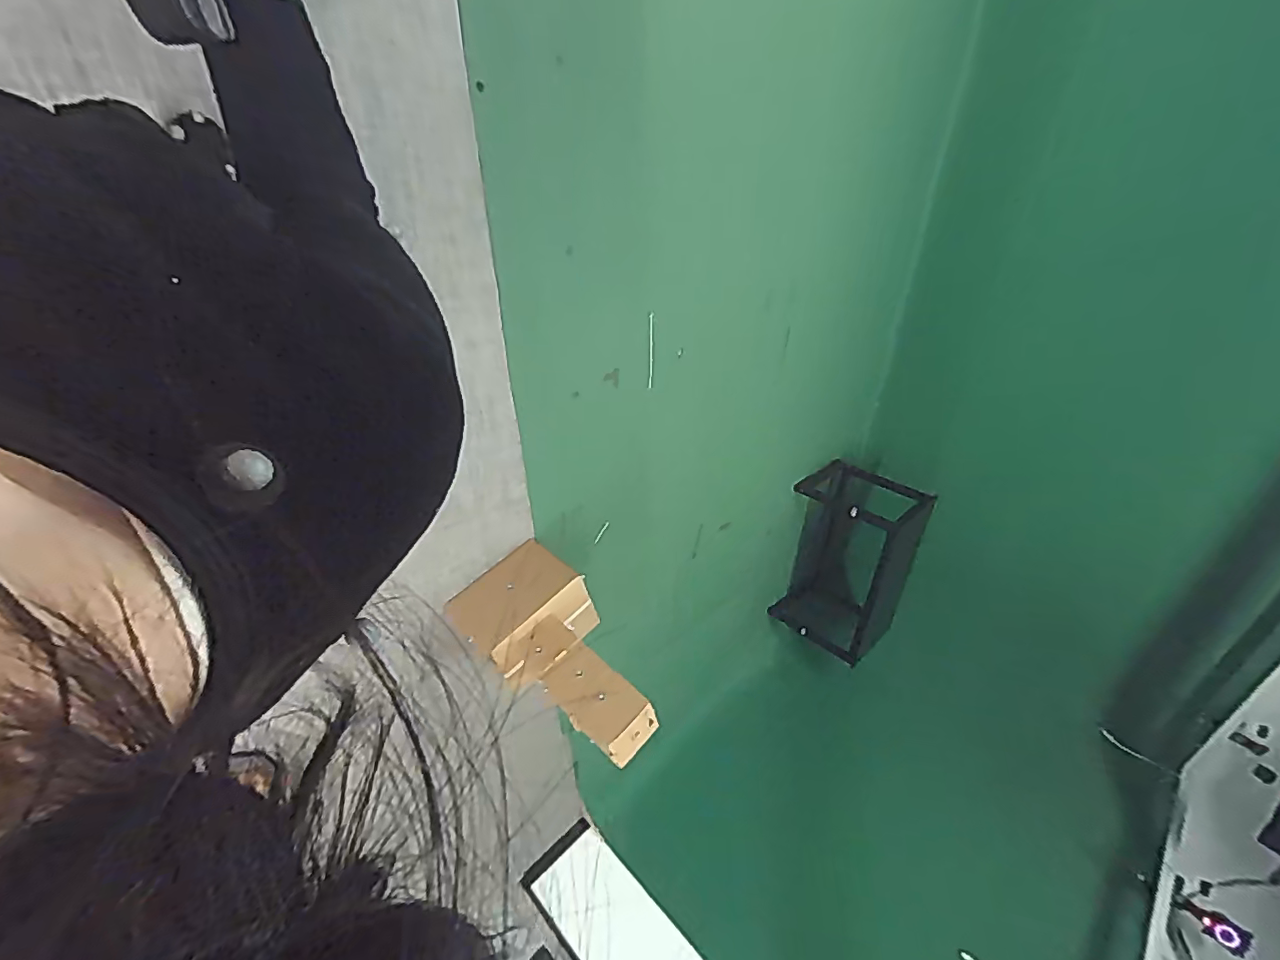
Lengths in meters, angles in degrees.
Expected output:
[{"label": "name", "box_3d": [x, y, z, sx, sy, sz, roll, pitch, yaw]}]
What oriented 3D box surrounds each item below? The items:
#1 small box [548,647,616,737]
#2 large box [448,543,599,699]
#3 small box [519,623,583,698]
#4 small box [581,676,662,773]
[{"label": "small box", "box_3d": [-0.178, 0.686, 1.760, 0.179, 0.176, 0.168, -40, 137, -26]}, {"label": "large box", "box_3d": [-0.429, 0.518, 2.037, 0.408, 0.320, 0.320, -41, 138, -27]}, {"label": "small box", "box_3d": [-0.290, 0.622, 1.860, 0.168, 0.176, 0.179, -39, 136, -26]}, {"label": "small box", "box_3d": [-0.061, 0.747, 1.661, 0.179, 0.176, 0.168, -38, 136, -25]}]
